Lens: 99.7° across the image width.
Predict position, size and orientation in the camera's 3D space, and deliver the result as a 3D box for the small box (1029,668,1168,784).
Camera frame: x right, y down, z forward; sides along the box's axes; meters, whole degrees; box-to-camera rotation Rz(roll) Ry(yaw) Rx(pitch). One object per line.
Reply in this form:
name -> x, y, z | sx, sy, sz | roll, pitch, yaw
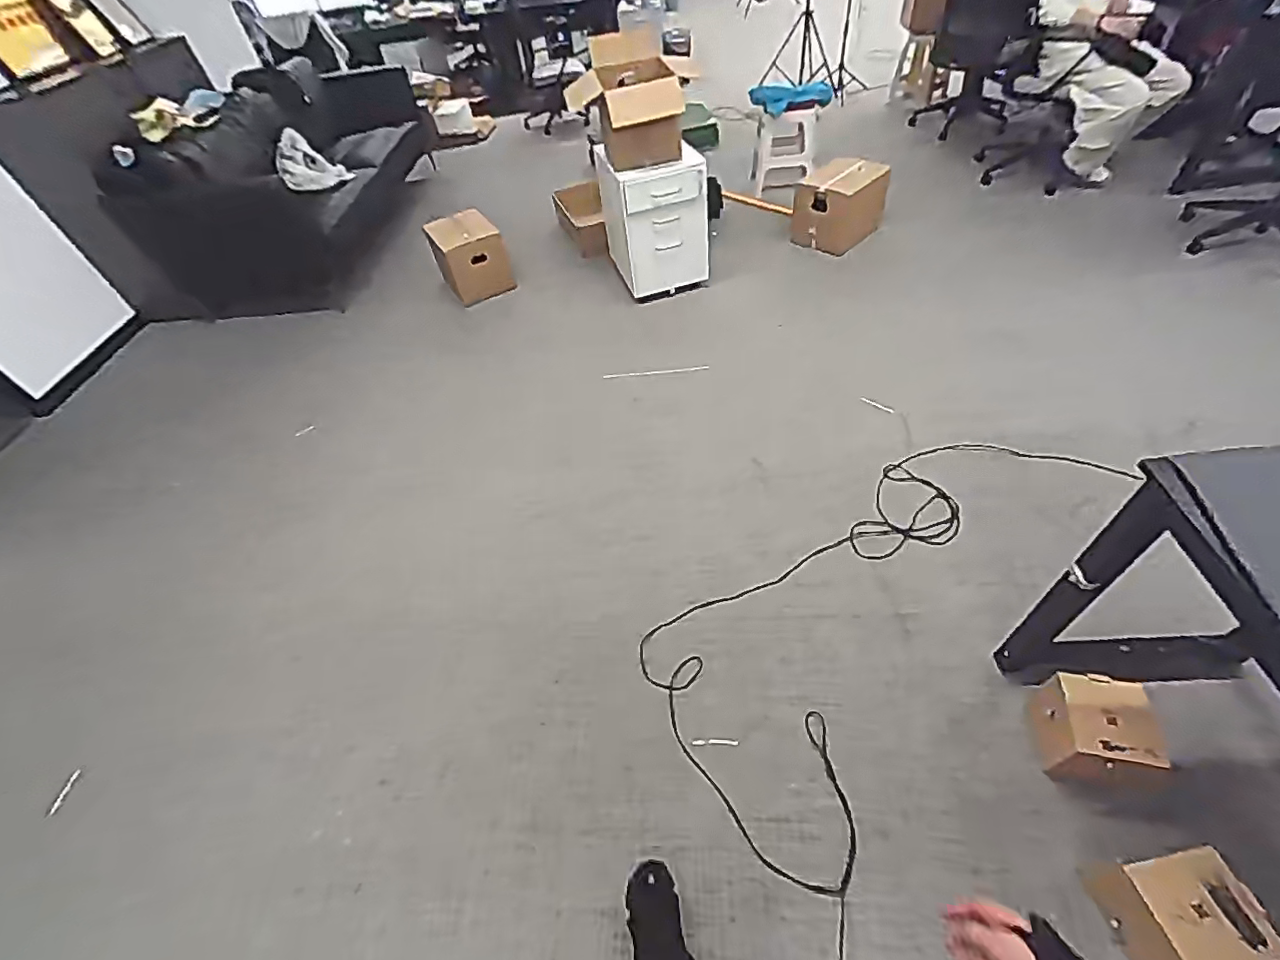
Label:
small box -> 1.015, 0.556, 1.219 | 0.168, 0.176, 0.179 | 6, 49, 14
